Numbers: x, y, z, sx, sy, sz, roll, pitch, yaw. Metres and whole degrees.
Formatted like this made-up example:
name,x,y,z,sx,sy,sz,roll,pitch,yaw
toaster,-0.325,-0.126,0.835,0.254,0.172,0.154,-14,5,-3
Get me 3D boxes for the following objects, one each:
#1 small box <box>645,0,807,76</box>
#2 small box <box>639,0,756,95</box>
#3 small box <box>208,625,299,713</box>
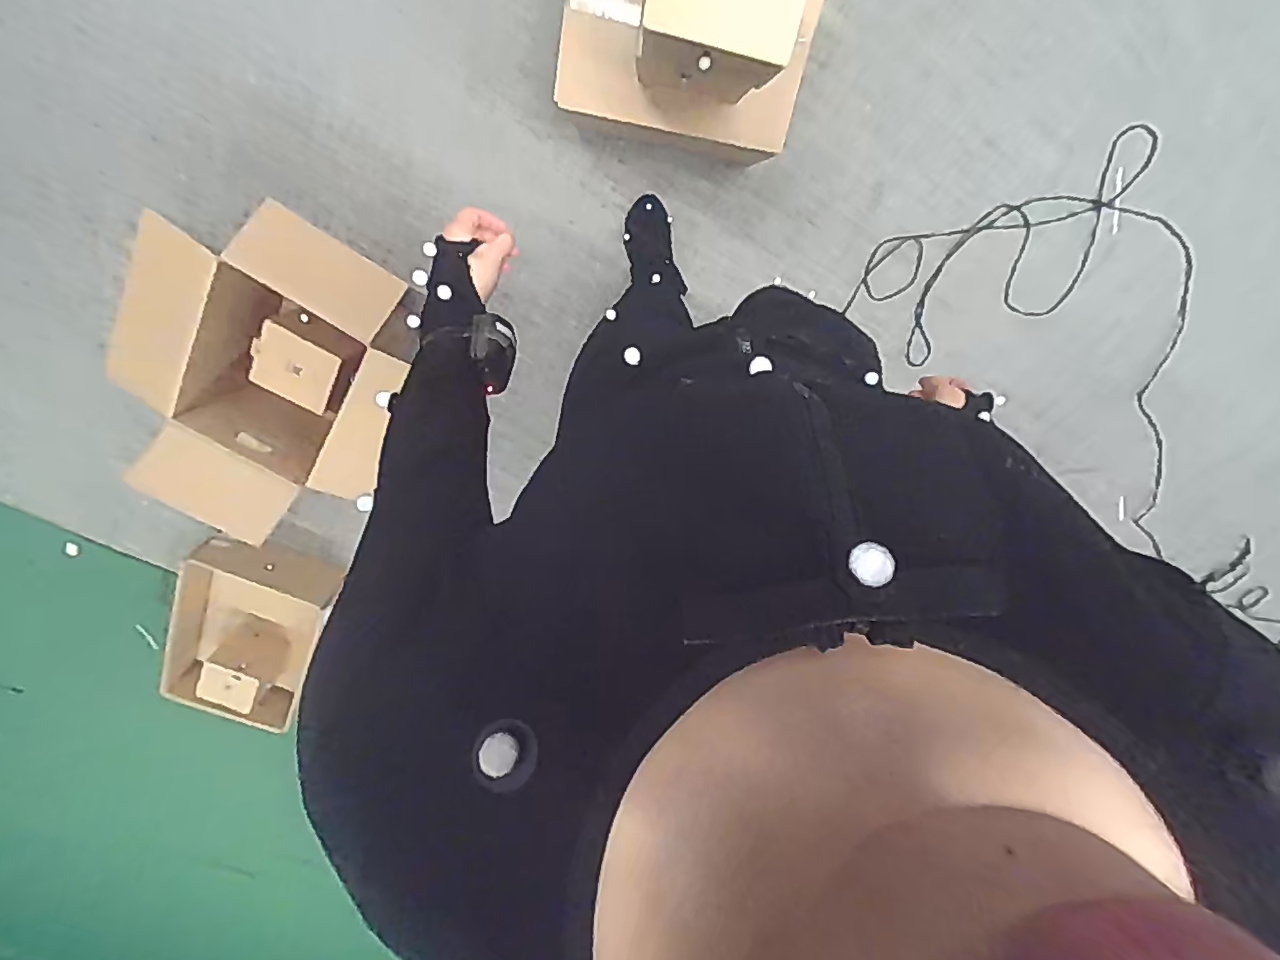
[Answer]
name,x,y,z,sx,sy,sz,roll,pitch,yaw
small box,0.109,-0.615,0.654,0.179,0.176,0.168,11,118,-4
small box,0.100,-0.693,0.797,0.179,0.176,0.168,10,118,-4
small box,-1.254,0.613,1.762,0.168,0.176,0.179,26,114,-10
